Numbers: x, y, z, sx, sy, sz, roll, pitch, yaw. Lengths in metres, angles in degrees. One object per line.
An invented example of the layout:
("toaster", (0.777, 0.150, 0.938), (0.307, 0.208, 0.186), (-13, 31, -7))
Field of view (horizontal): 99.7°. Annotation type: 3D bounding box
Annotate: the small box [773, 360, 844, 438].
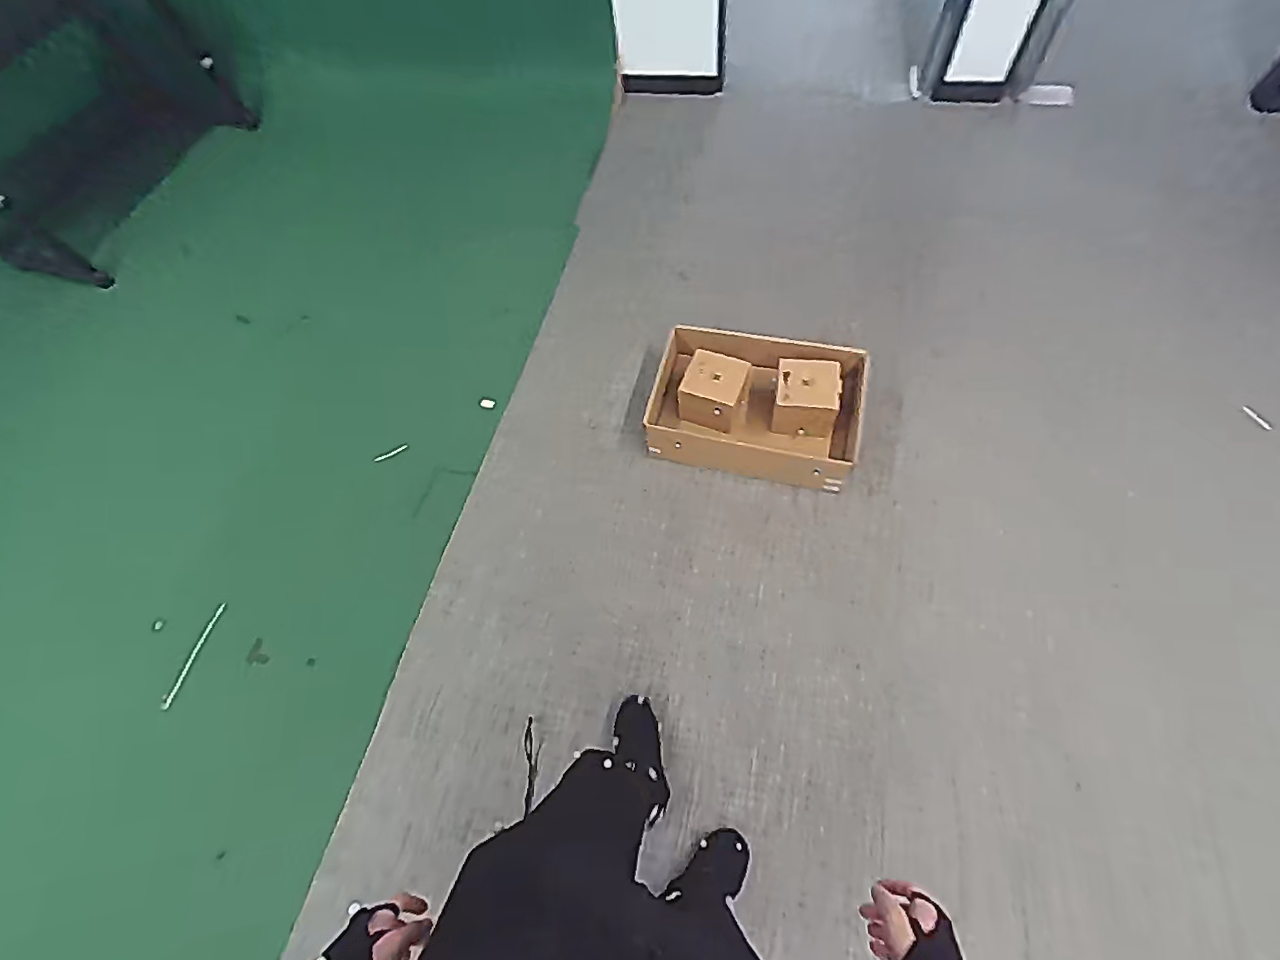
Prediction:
("small box", (0.503, -0.238, 1.627), (0.179, 0.176, 0.168), (7, 66, 11))
